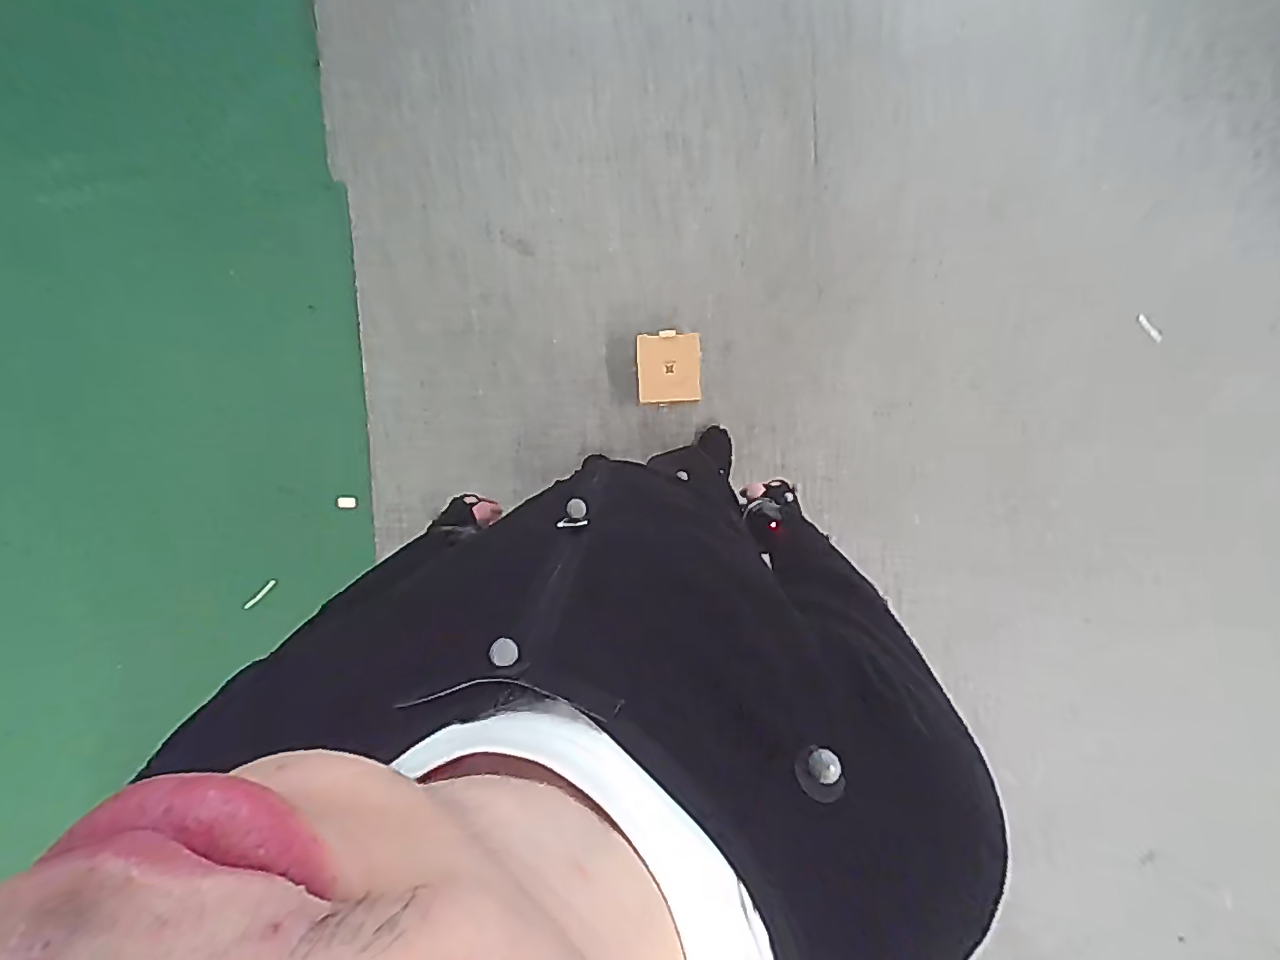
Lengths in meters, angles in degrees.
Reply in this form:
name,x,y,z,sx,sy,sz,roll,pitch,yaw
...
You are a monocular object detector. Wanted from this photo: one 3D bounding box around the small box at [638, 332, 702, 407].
name,x,y,z,sx,sy,sz,roll,pitch,yaw
small box,0.077,-0.294,1.466,0.168,0.176,0.179,-1,93,1
